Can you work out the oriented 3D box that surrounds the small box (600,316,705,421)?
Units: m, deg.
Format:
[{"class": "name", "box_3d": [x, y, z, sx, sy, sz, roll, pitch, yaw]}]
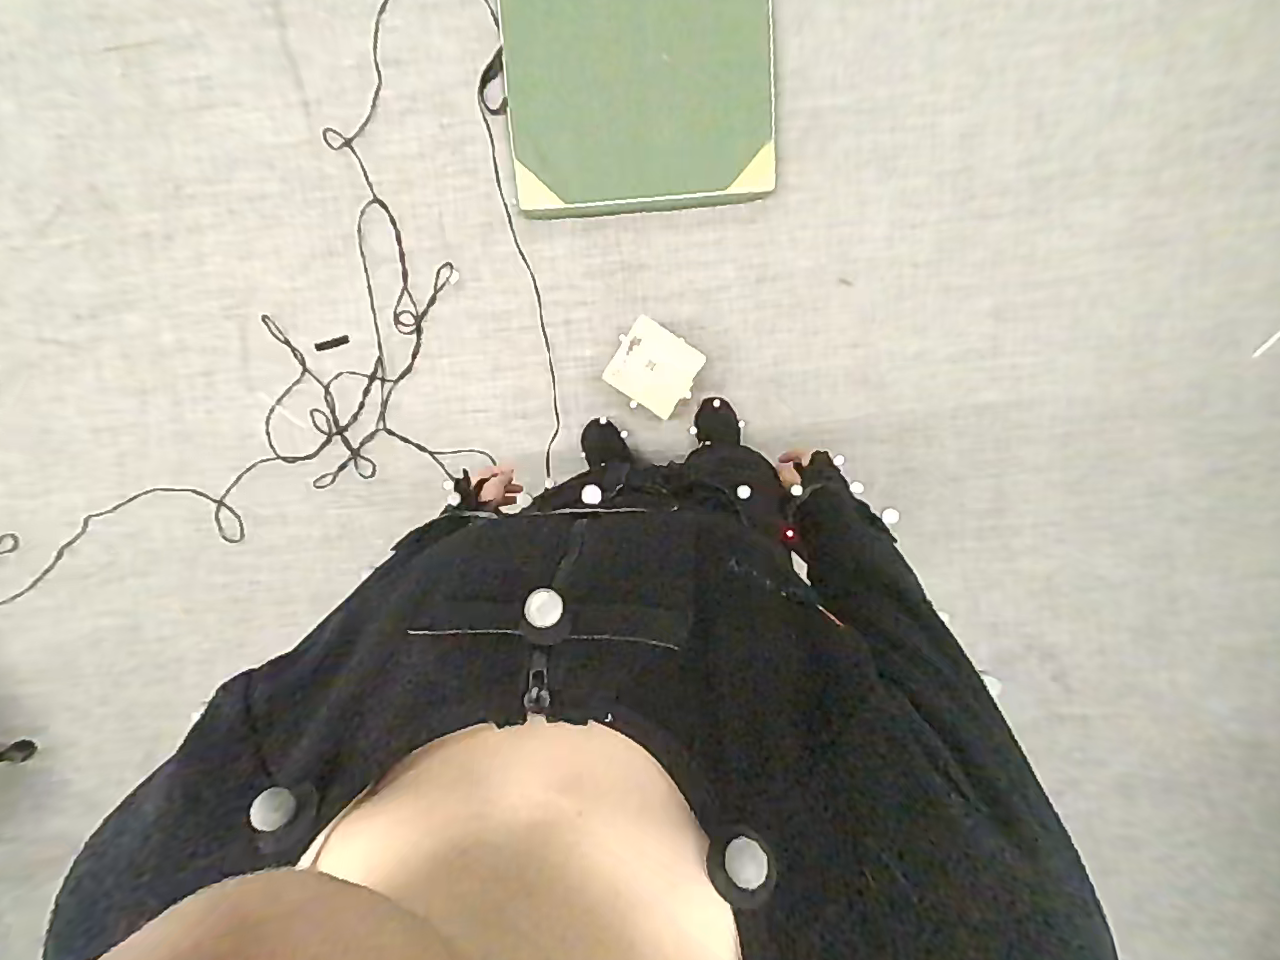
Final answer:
[{"class": "small box", "box_3d": [0.028, -0.253, 1.251, 0.179, 0.176, 0.168, 33, 96, -4]}]
